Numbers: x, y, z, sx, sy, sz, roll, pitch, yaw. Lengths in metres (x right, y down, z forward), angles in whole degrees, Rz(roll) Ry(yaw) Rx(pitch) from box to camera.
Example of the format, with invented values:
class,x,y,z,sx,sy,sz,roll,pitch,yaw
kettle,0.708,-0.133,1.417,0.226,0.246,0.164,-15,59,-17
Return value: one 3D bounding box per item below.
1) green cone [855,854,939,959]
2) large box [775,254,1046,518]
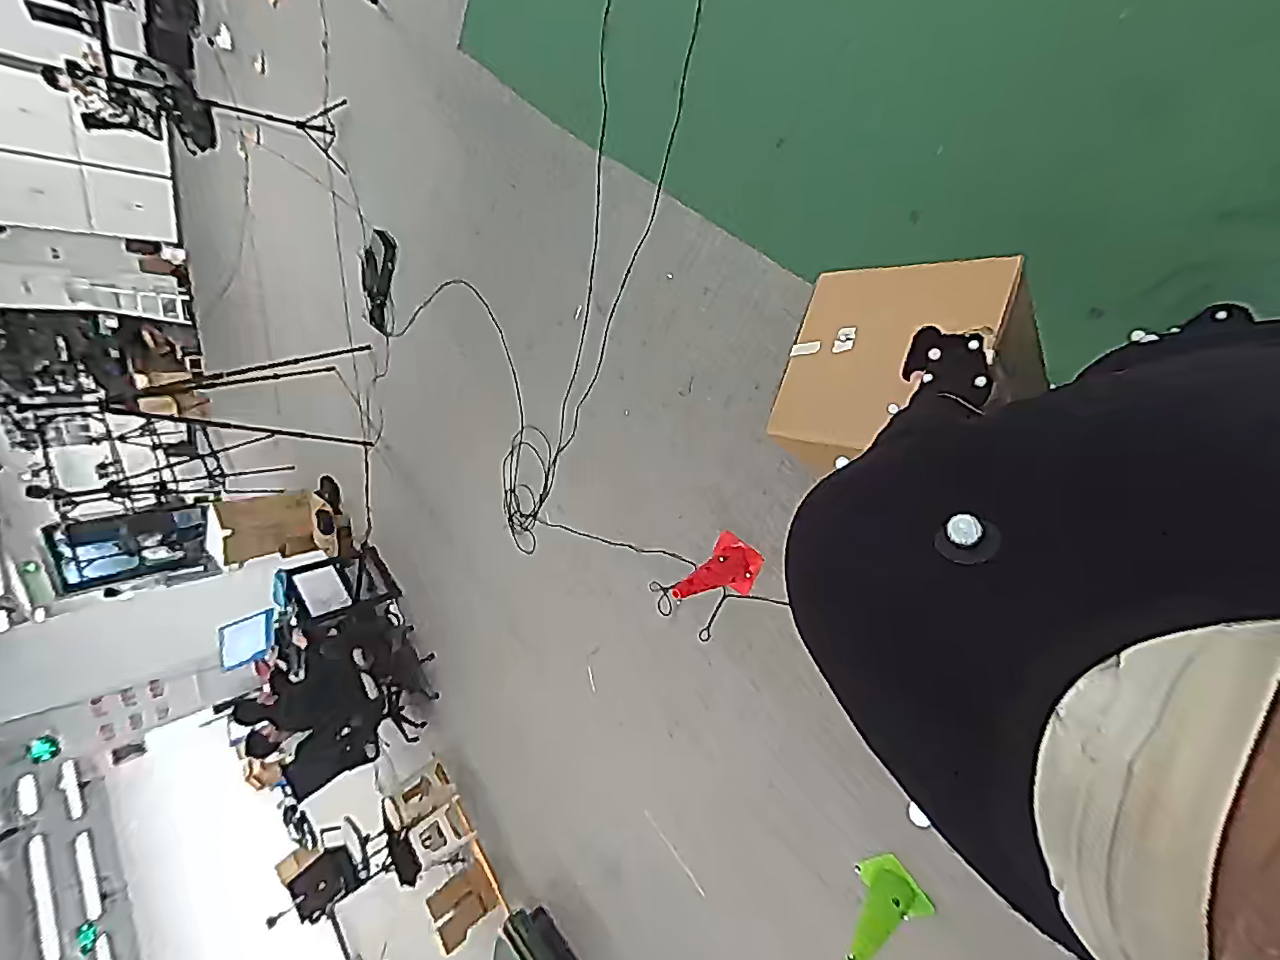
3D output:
class,x,y,z,sx,sy,sz,roll,pitch,yaw
green cone,0.778,1.445,1.748,0.200,0.368,0.202,51,129,22
large box,0.504,-0.151,0.989,0.320,0.408,0.320,15,84,44
